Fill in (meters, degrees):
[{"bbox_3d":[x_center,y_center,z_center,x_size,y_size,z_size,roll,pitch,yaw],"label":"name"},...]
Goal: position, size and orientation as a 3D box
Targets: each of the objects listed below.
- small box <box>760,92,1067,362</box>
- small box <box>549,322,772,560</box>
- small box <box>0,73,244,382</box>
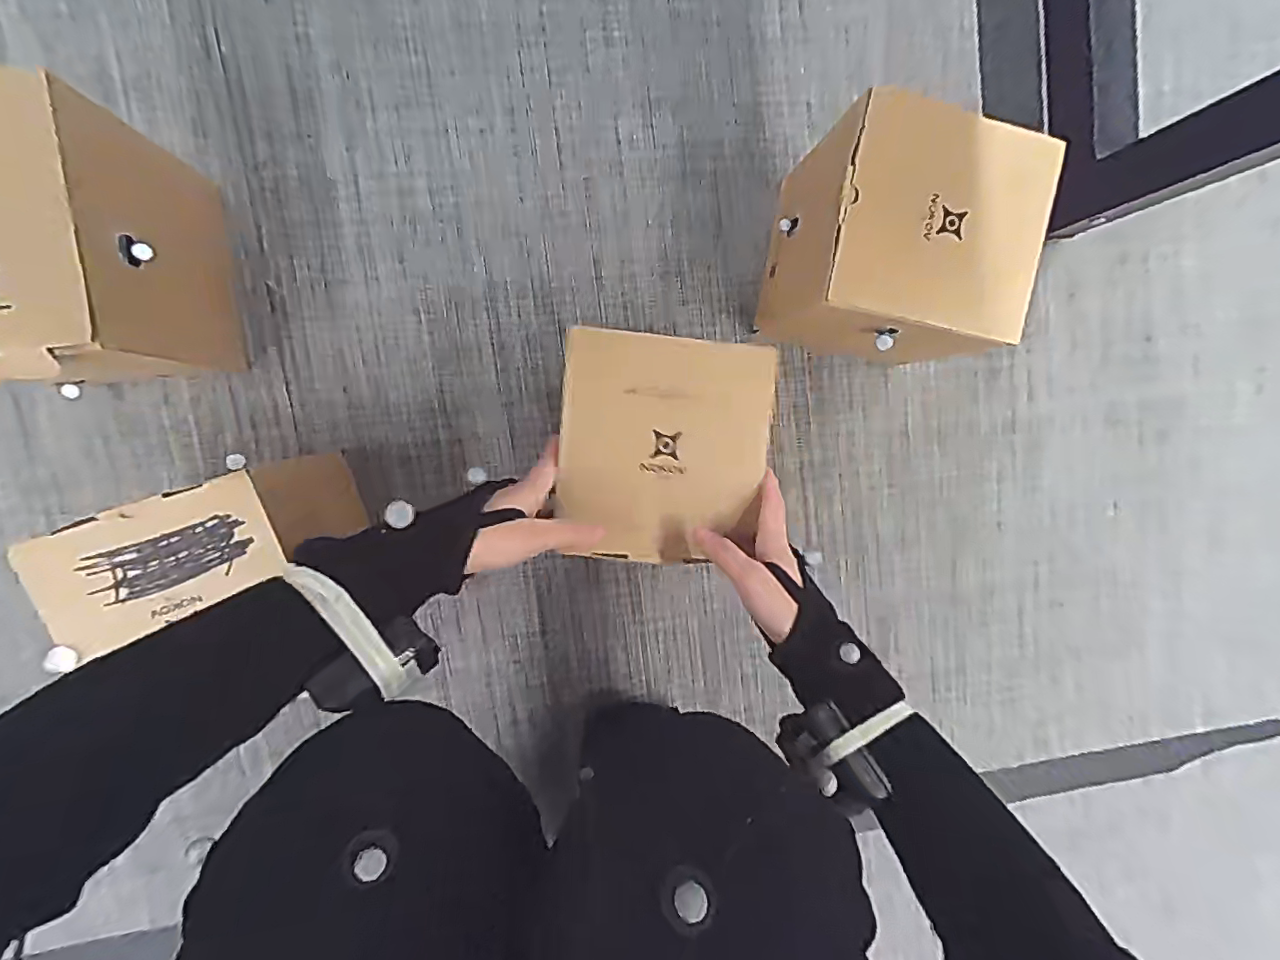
[{"bbox_3d":[0.235,-0.212,0.509,0.179,0.176,0.168,10,95,-8],"label":"small box"},{"bbox_3d":[0.006,-0.034,0.497,0.168,0.176,0.179,3,94,-9],"label":"small box"},{"bbox_3d":[-0.449,-0.171,0.420,0.168,0.176,0.179,-6,96,-8],"label":"small box"}]
